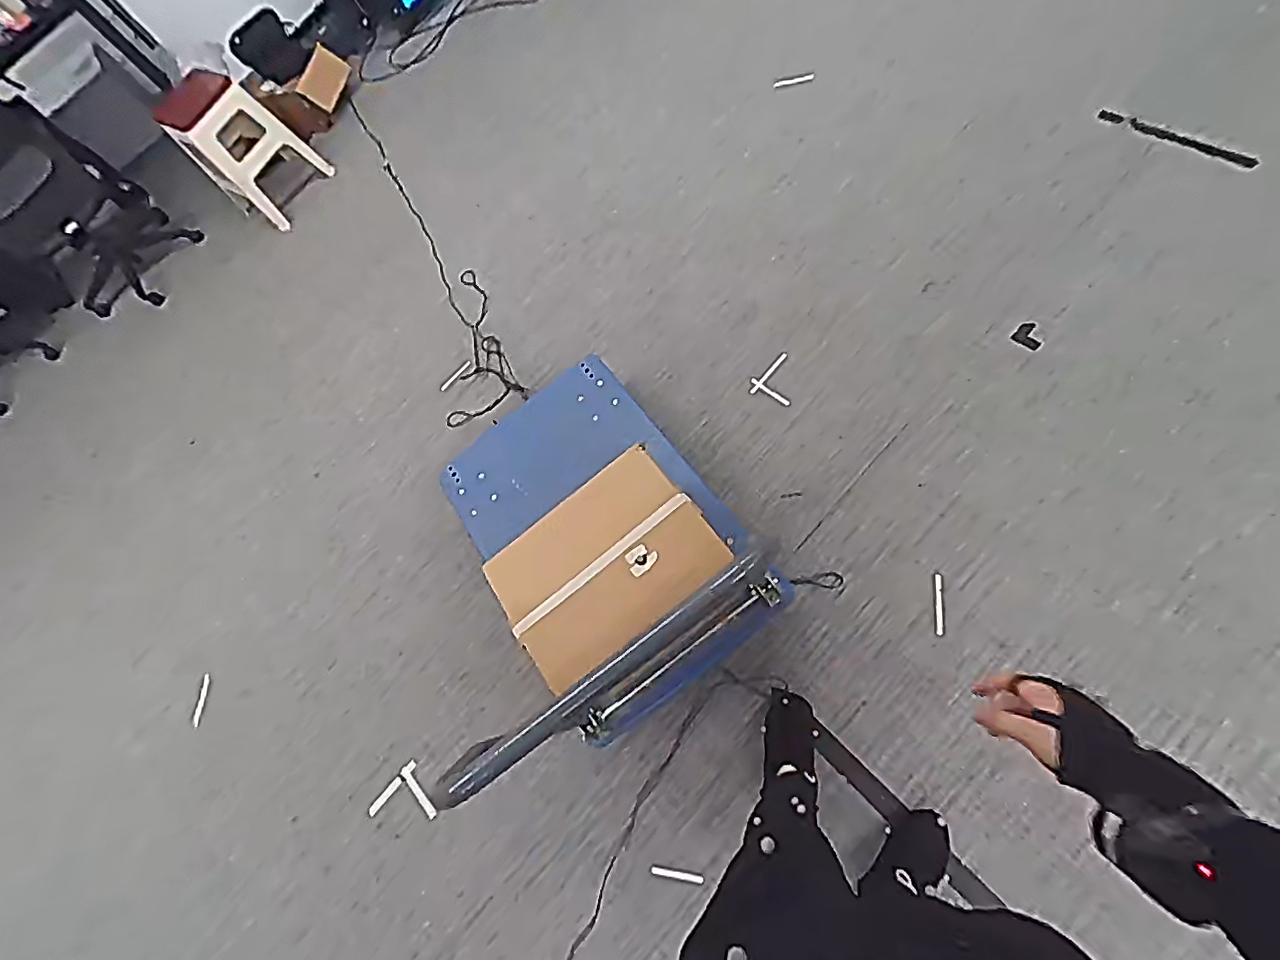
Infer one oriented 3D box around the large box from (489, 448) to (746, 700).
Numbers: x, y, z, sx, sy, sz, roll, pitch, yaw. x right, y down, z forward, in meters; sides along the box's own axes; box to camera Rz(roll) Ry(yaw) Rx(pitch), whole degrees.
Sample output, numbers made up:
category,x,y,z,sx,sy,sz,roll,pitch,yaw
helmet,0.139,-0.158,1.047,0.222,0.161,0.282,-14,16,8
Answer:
category,x,y,z,sx,sy,sz,roll,pitch,yaw
large box,-0.030,0.216,1.158,0.408,0.320,0.320,-38,65,-1
